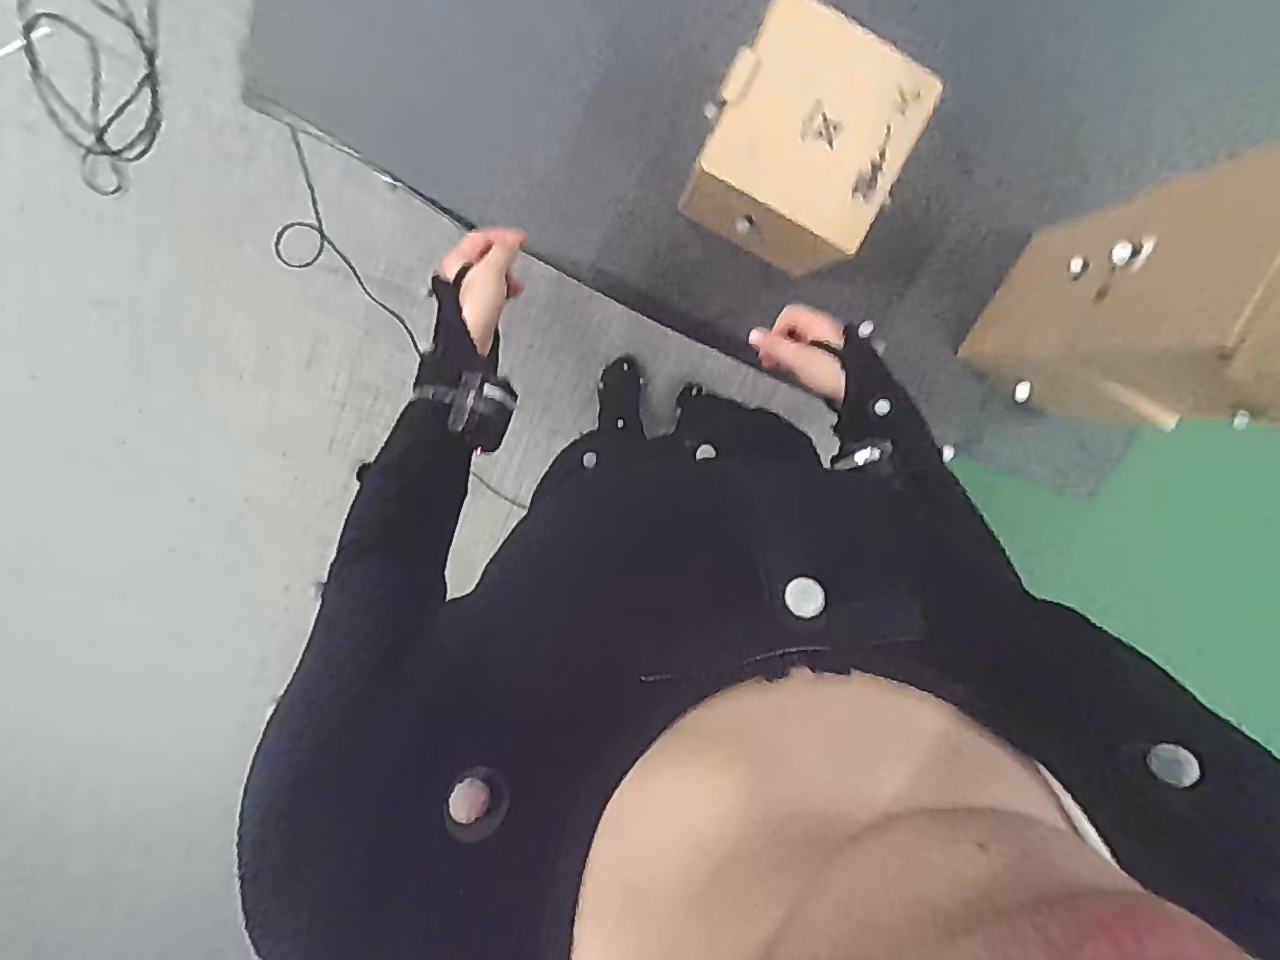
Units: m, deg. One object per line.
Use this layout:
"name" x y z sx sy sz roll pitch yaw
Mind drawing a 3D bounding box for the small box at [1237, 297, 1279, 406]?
"small box" 0.528 -0.090 0.300 0.179 0.176 0.168 27 98 -7

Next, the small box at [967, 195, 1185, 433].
"small box" 0.525 -0.178 0.616 0.168 0.176 0.179 30 100 -7

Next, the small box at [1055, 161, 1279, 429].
"small box" 0.520 -0.149 0.456 0.179 0.176 0.168 22 99 -5

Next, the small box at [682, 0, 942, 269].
"small box" 0.158 -0.344 0.569 0.179 0.176 0.168 26 100 -7
